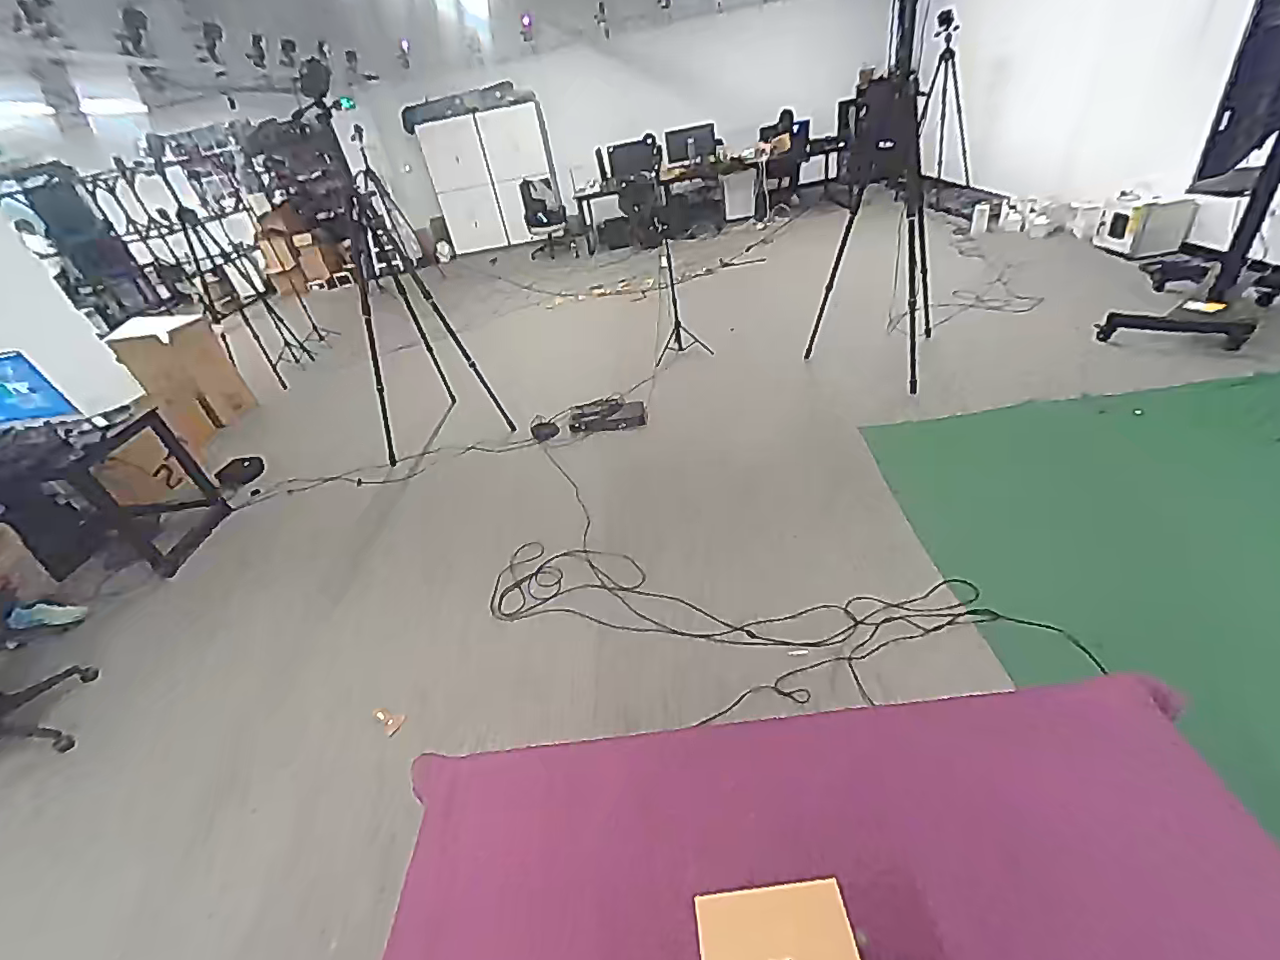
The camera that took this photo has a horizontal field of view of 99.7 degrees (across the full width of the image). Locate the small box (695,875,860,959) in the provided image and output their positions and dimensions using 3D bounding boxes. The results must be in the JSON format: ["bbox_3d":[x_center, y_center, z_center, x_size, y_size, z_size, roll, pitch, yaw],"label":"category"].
[{"bbox_3d":[0.158,0.570,0.585,0.168,0.176,0.179,-11,33,4],"label":"small box"}]
